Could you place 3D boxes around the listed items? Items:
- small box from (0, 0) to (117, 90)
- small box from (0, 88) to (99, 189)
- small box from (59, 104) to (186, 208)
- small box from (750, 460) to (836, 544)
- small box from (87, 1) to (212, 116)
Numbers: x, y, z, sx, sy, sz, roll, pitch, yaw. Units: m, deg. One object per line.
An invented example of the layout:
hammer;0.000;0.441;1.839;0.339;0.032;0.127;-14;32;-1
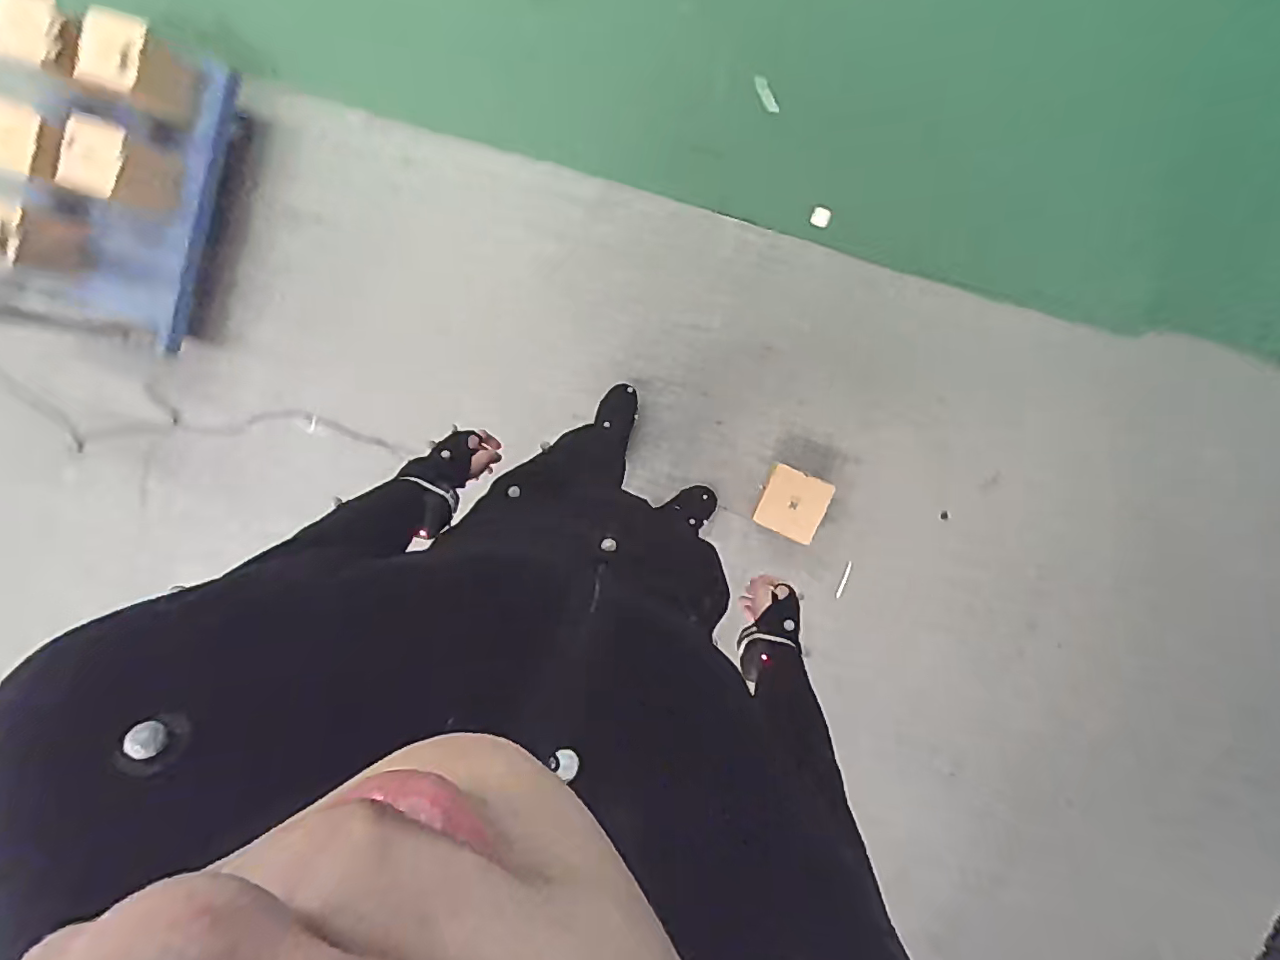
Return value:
small box;-1.565;-1.205;1.464;0.179;0.176;0.168;20;98;5
small box;-1.654;-0.942;1.502;0.179;0.176;0.168;21;97;3
small box;-1.400;-0.871;1.475;0.179;0.176;0.168;21;97;5
small box;0.417;0.054;1.515;0.168;0.176;0.179;25;98;5
small box;-1.312;-1.124;1.458;0.179;0.176;0.168;20;97;6
